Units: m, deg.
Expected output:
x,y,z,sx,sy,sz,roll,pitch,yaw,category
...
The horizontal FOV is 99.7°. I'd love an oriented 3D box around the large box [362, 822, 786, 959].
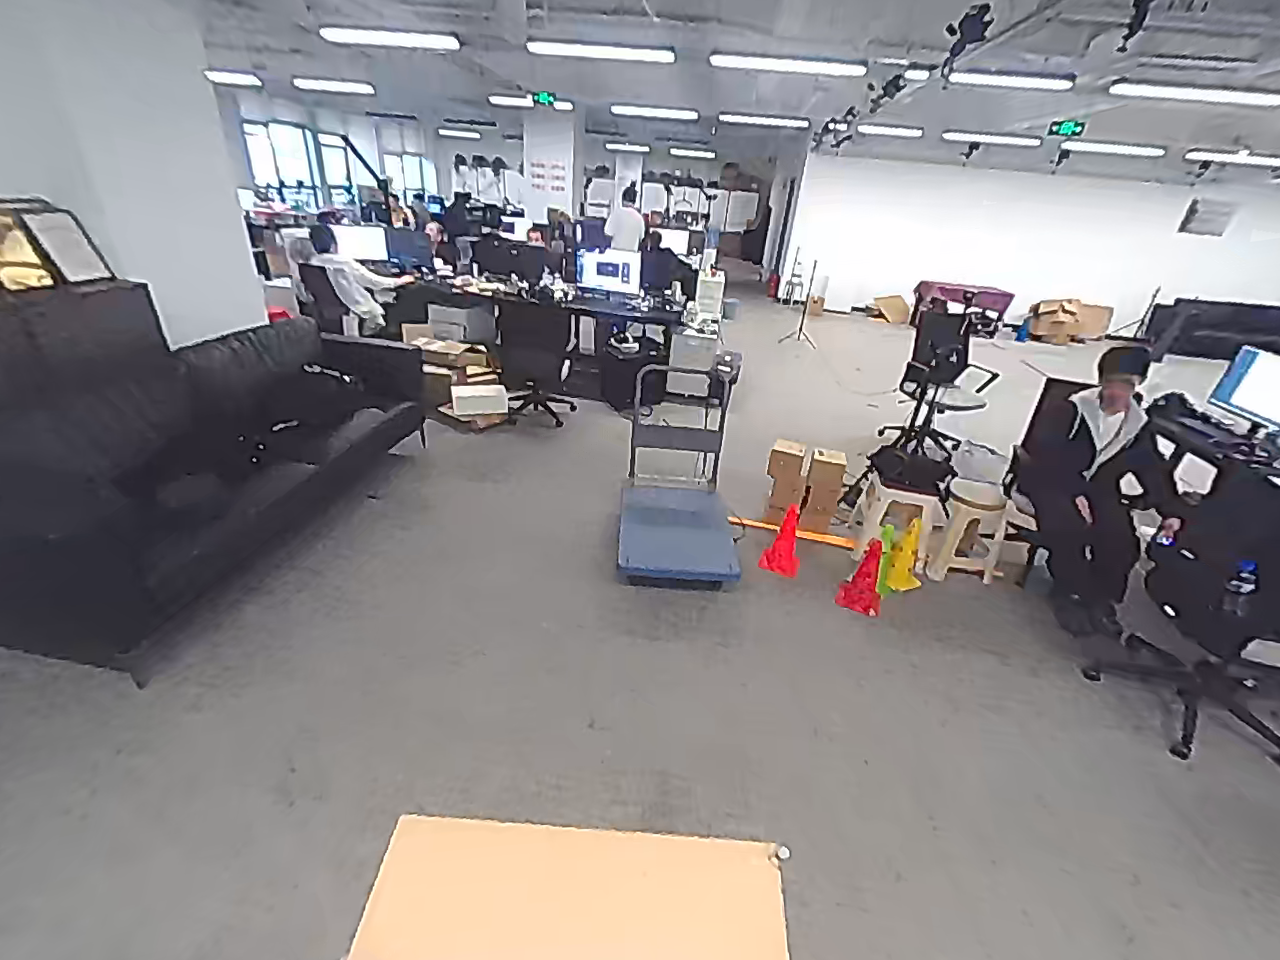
x,y,z,sx,sy,sz,roll,pitch,yaw,category
-0.069,0.595,0.562,0.408,0.320,0.320,4,40,1,large box
